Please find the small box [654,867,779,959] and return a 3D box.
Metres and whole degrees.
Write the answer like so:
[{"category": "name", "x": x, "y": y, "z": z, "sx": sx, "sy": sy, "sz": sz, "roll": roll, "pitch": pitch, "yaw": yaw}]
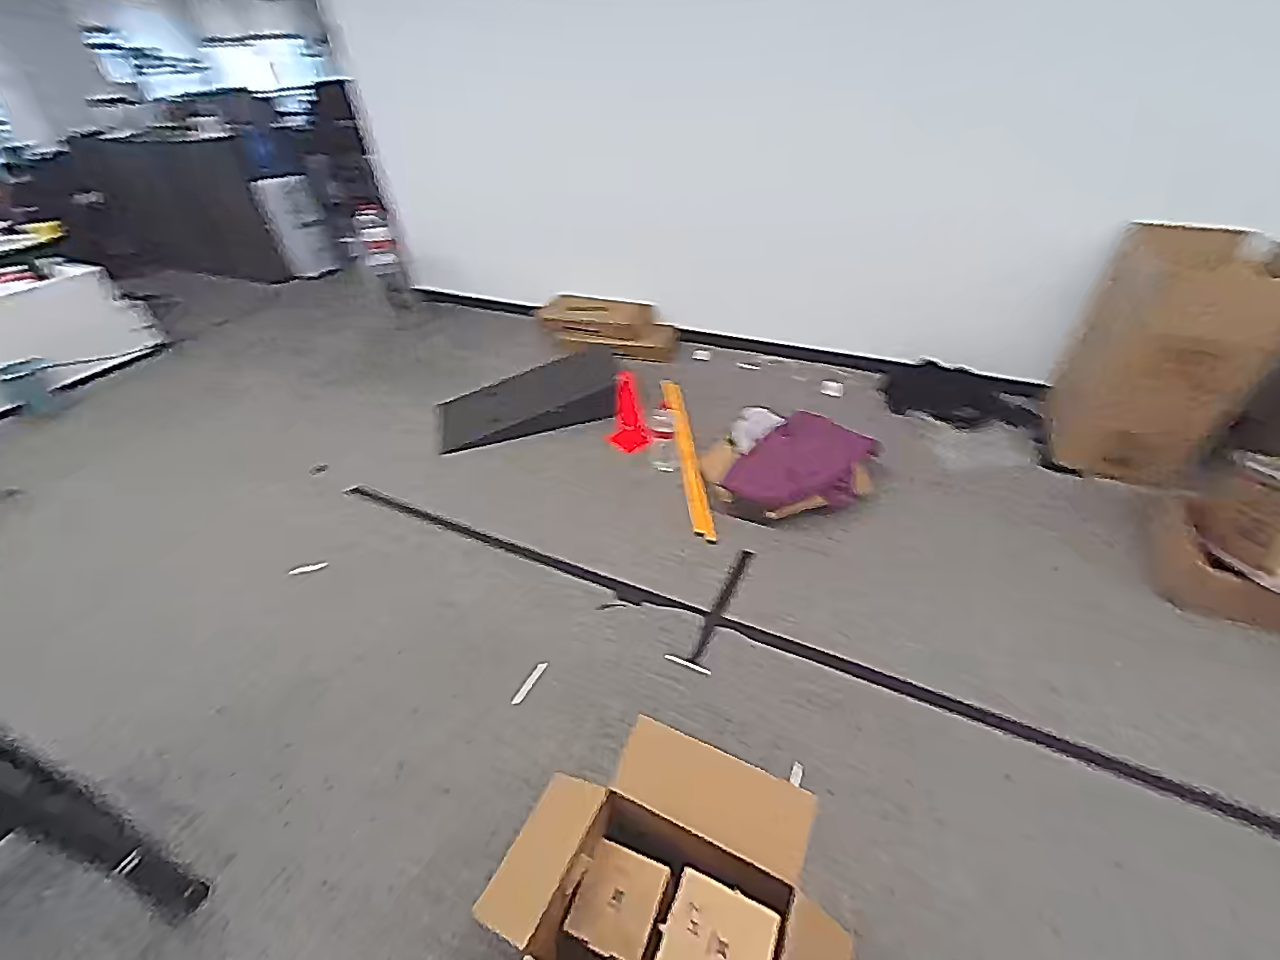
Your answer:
[{"category": "small box", "x": 0.132, "y": 0.837, "z": 0.958, "sx": 0.179, "sy": 0.176, "sz": 0.168, "roll": 15, "pitch": 43, "yaw": 21}]
